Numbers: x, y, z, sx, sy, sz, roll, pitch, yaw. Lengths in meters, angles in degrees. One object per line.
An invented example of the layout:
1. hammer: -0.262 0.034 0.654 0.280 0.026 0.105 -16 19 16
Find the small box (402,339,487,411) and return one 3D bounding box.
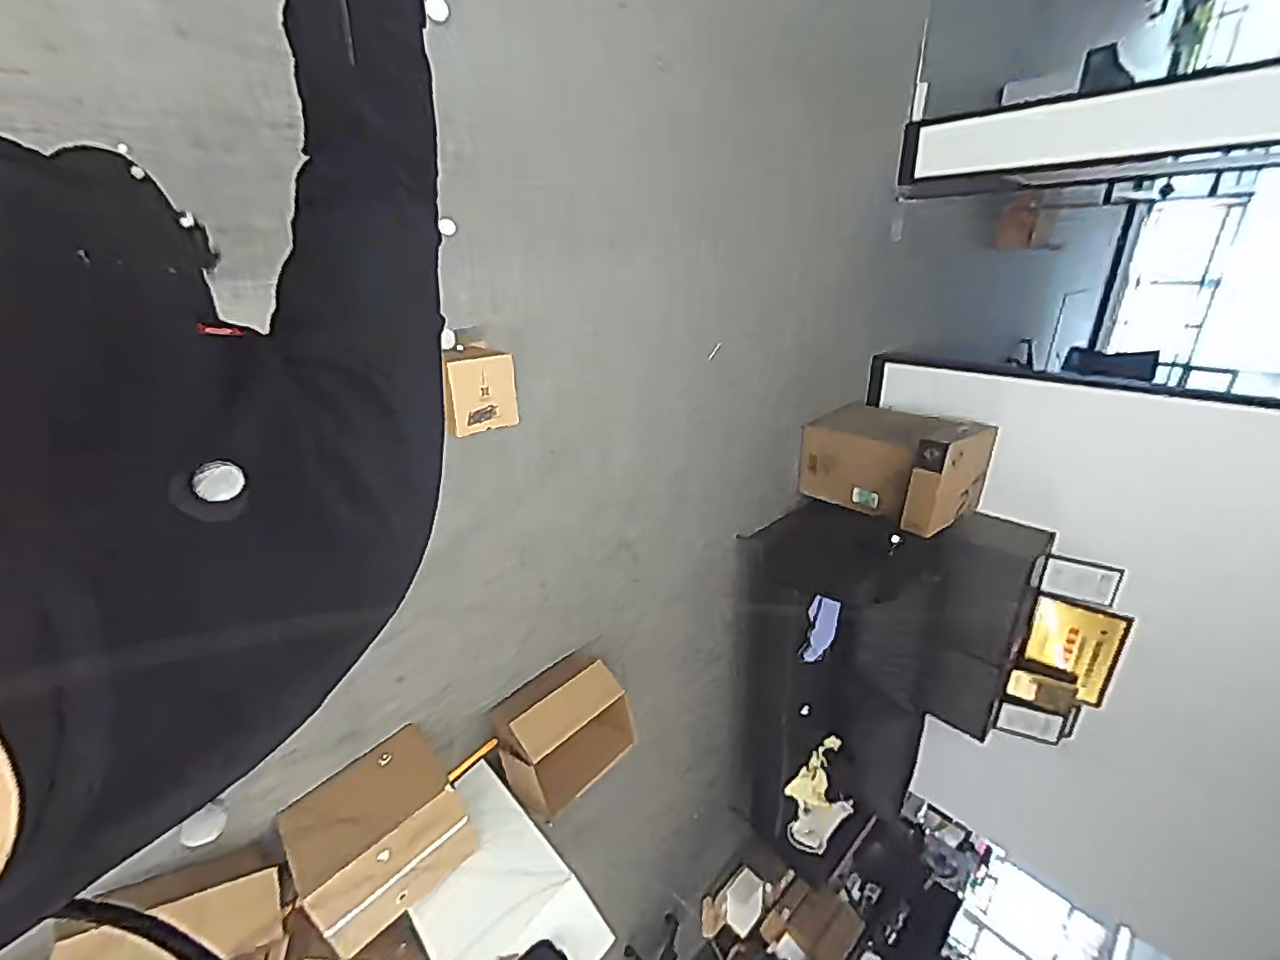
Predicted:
1. small box: -0.512 -0.276 1.449 0.168 0.176 0.179 -27 124 -36

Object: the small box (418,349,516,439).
1. small box: -0.422 -0.217 1.320 0.168 0.176 0.179 -20 118 -39
